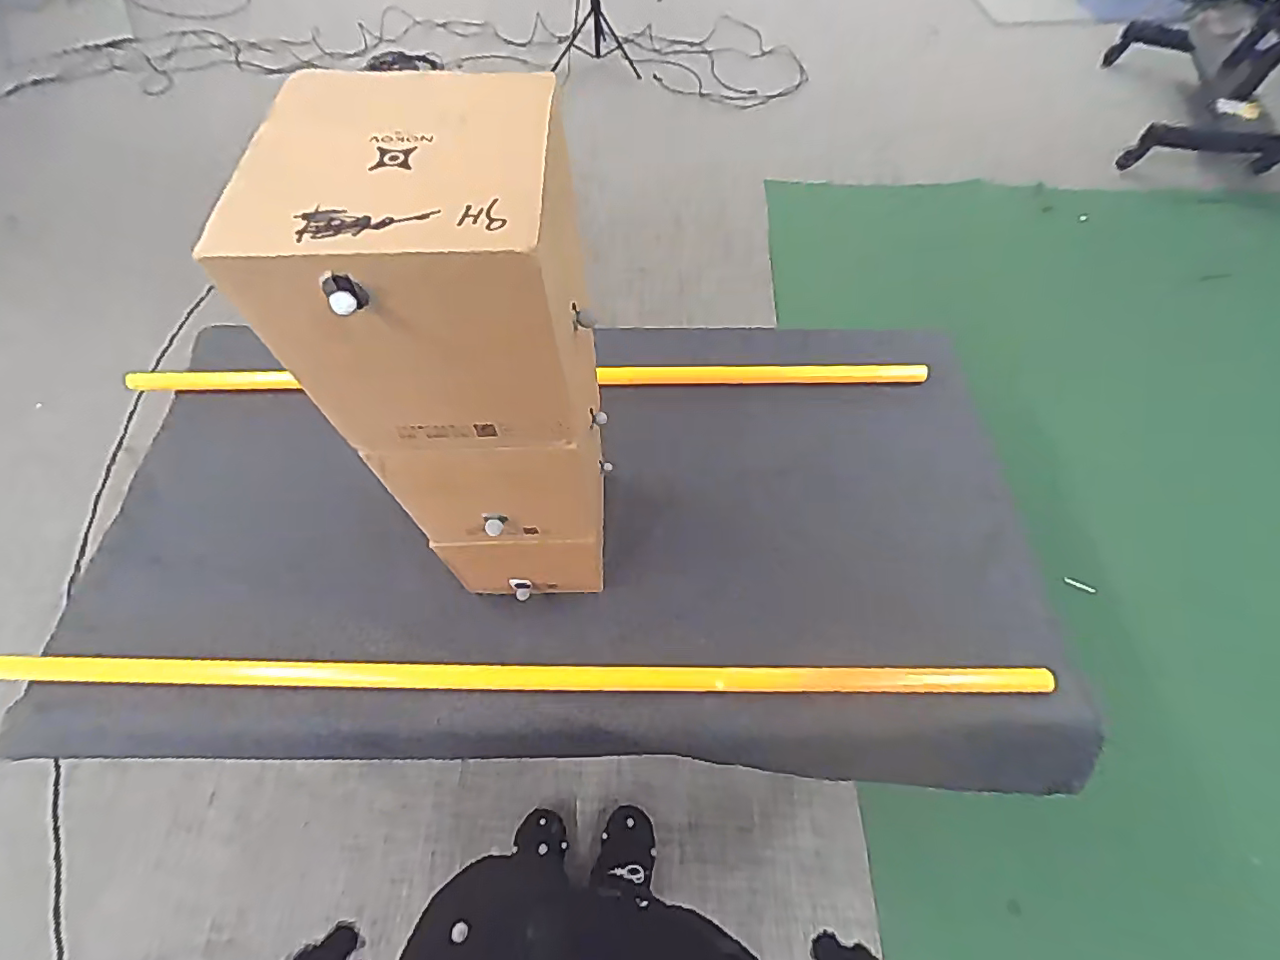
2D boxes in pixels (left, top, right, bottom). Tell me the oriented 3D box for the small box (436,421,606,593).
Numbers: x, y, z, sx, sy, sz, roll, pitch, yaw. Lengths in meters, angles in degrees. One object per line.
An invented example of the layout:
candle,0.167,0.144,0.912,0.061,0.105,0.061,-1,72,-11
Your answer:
small box,-0.130,0.027,0.660,0.168,0.176,0.179,-3,61,0

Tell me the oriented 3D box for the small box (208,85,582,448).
small box,-0.133,-0.140,0.377,0.168,0.176,0.179,-2,59,1

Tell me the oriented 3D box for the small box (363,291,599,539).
small box,-0.129,-0.057,0.518,0.168,0.176,0.179,-1,60,0
